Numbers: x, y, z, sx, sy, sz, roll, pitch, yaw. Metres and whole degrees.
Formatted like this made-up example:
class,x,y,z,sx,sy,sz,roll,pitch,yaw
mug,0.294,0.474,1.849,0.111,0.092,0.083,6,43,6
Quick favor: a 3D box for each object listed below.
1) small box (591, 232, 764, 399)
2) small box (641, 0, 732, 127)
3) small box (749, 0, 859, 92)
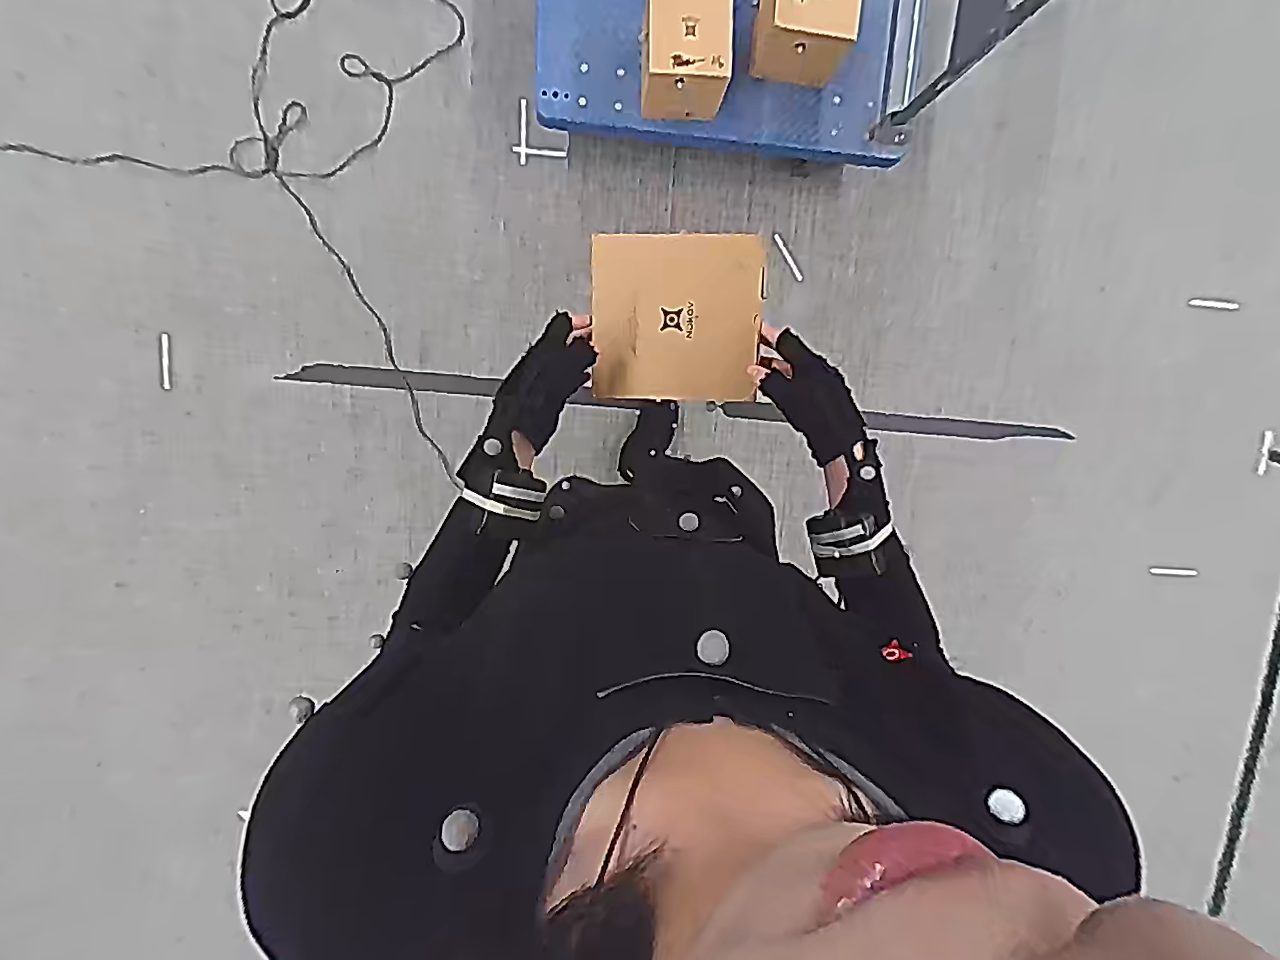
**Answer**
class,x,y,z,sx,sy,sz,roll,pitch,yaw
small box,0.042,-0.183,0.632,0.179,0.176,0.168,1,100,6
small box,0.090,-0.880,1.130,0.168,0.176,0.179,0,96,-4
small box,0.341,-0.961,1.142,0.179,0.176,0.168,5,97,-6
